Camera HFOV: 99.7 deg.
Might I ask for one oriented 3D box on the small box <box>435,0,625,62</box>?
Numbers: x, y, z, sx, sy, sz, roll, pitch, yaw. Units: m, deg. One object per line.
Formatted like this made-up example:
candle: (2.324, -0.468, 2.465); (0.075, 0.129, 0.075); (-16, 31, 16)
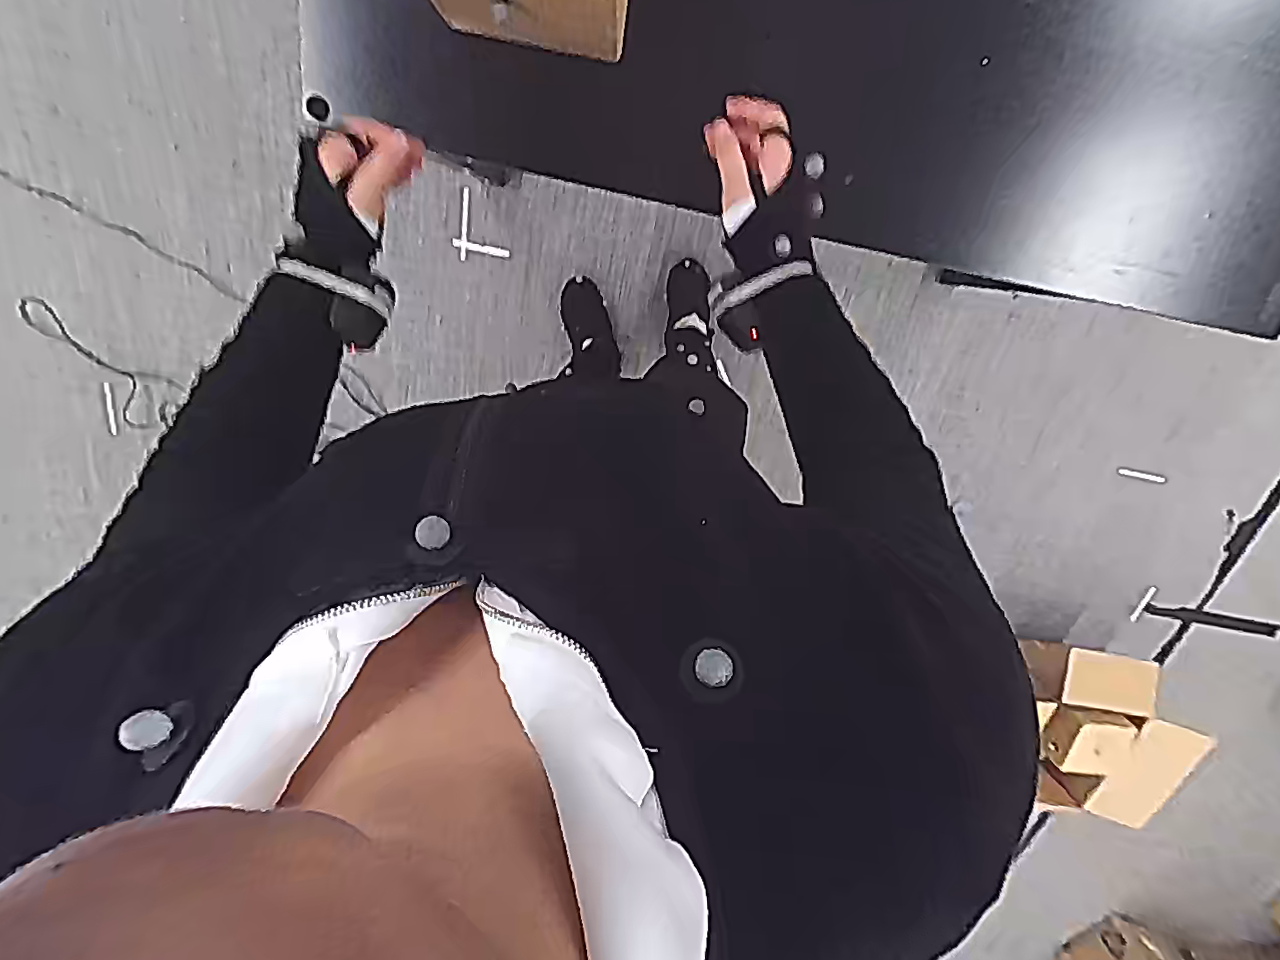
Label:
small box: (-0.095, -0.490, 0.458); (0.179, 0.176, 0.168); (8, 112, -5)
